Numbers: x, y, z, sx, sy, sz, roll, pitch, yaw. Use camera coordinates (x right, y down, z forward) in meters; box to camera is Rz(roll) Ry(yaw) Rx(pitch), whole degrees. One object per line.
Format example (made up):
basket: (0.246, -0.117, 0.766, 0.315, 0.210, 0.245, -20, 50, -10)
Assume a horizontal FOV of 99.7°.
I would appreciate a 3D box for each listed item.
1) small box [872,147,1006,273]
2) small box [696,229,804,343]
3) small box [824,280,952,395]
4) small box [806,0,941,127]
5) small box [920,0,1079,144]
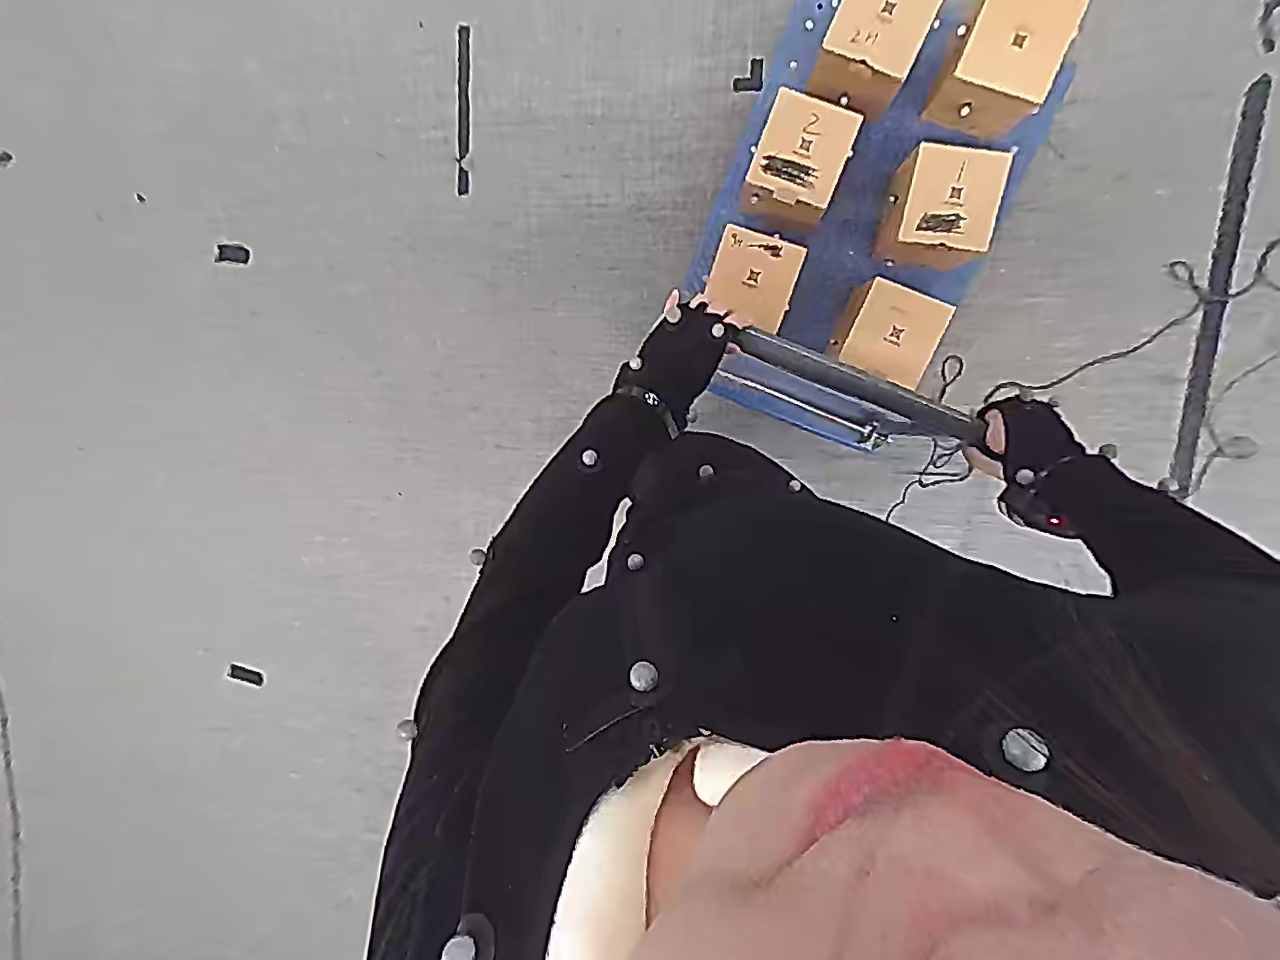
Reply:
small box: (0.586, -0.530, 1.087, 0.168, 0.176, 0.179, 11, 100, 5)
small box: (0.226, -0.400, 1.147, 0.168, 0.176, 0.179, 19, 101, 2)
small box: (0.505, -0.290, 1.136, 0.168, 0.176, 0.179, 23, 101, 2)
small box: (0.441, -0.838, 1.051, 0.168, 0.176, 0.179, 24, 102, 2)
small box: (0.670, -0.785, 1.037, 0.168, 0.176, 0.179, 19, 101, 3)
